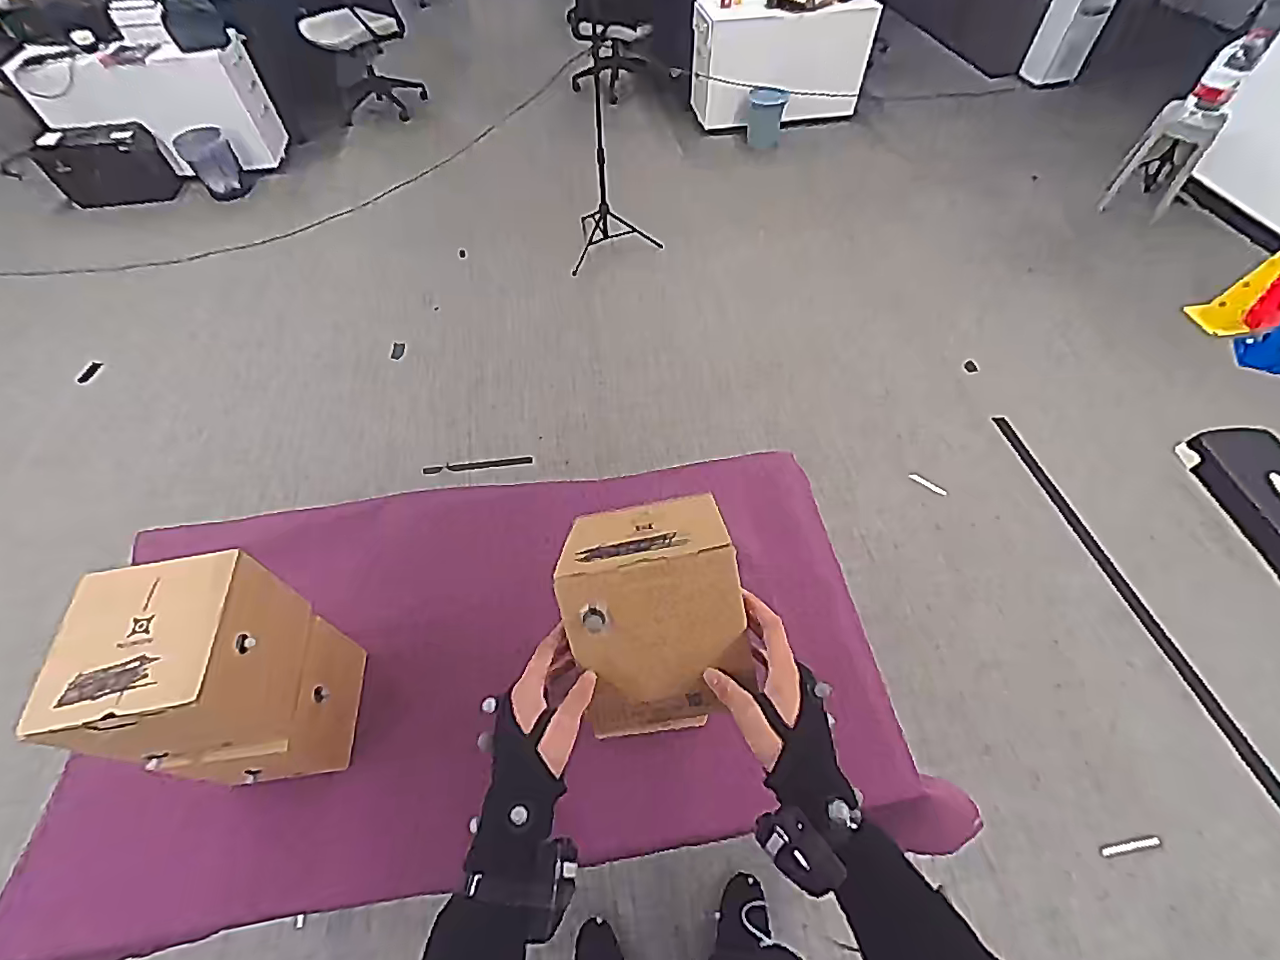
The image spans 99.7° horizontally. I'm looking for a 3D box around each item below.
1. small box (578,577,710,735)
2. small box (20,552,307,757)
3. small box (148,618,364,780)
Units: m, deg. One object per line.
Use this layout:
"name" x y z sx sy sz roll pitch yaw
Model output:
"small box" 0.003 0.263 0.790 0.168 0.176 0.179 -6 54 -3
"small box" -0.520 0.209 0.629 0.168 0.176 0.179 -9 55 -6
"small box" -0.514 0.312 0.758 0.168 0.176 0.179 -5 55 -4
